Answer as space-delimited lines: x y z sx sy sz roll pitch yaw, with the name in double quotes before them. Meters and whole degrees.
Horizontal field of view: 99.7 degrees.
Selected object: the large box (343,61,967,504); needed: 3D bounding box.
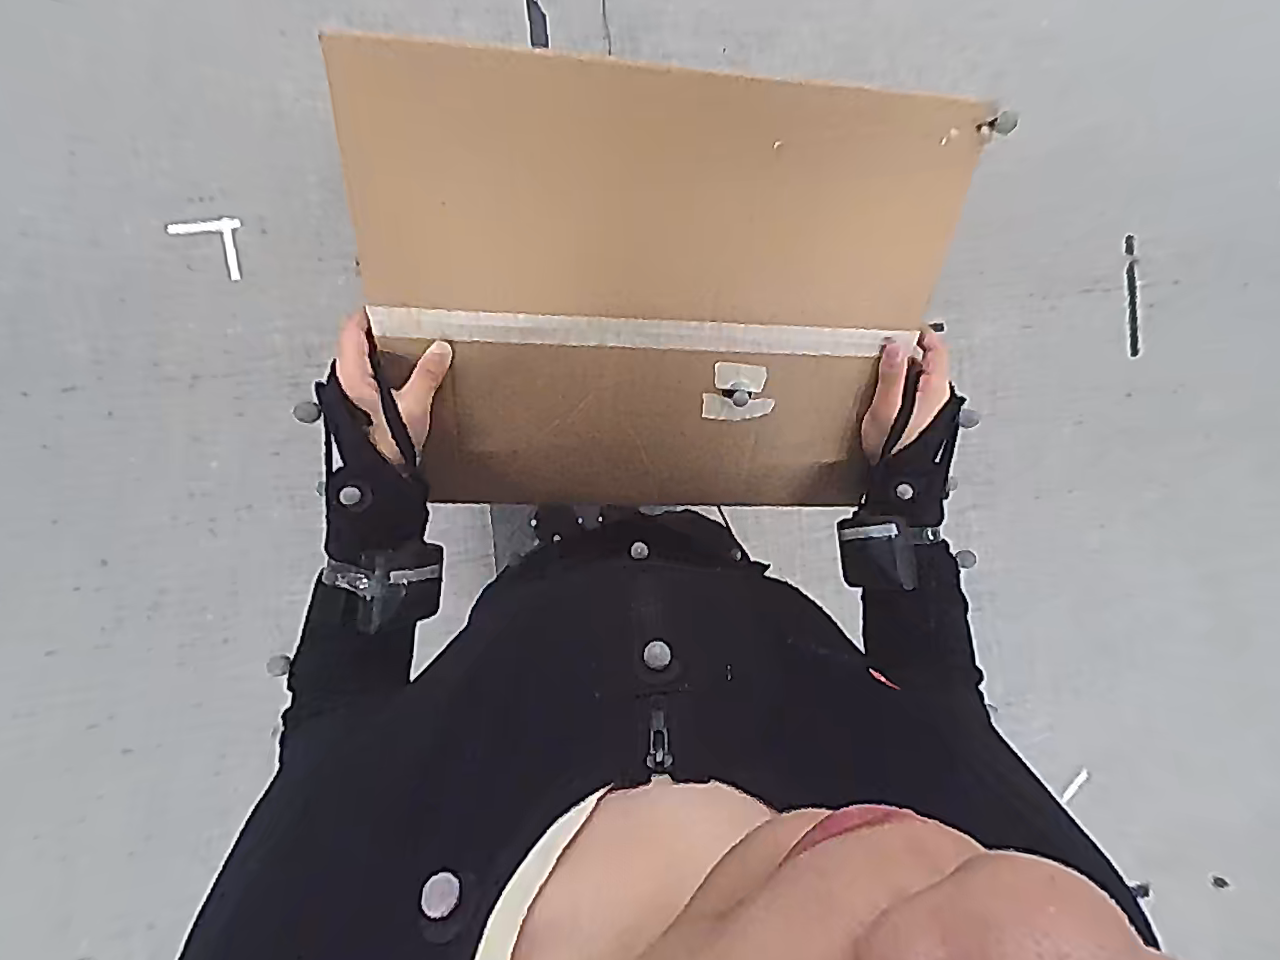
"large box" -0.003 -0.191 0.538 0.408 0.320 0.320 0 123 -8
